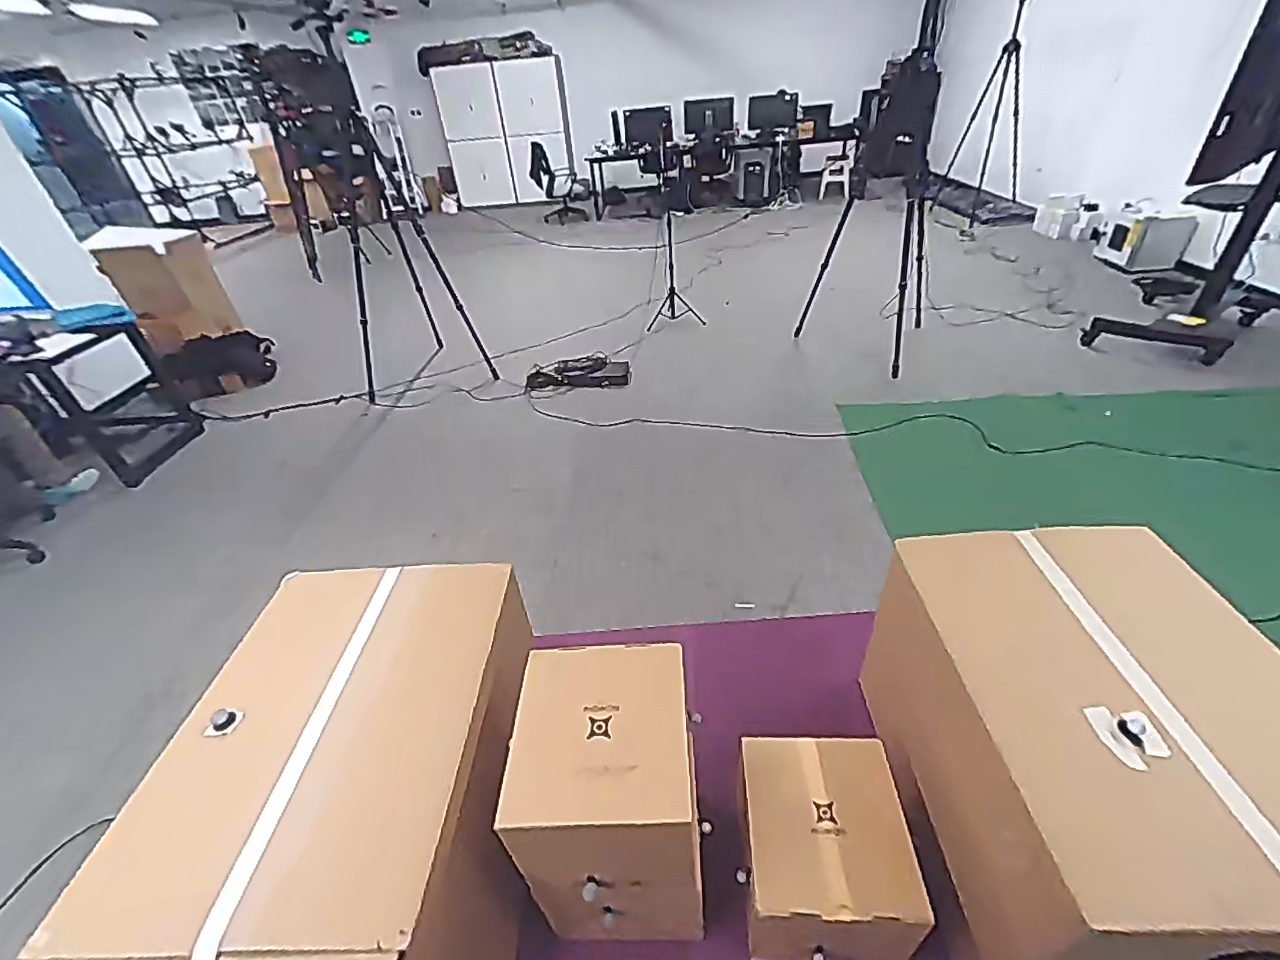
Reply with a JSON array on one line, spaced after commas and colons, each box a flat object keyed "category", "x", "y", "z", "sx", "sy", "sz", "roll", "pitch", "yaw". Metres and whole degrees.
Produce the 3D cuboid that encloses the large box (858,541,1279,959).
[{"category": "large box", "x": 0.491, "y": 0.319, "z": 0.629, "sx": 0.320, "sy": 0.320, "sz": 0.408, "roll": -2, "pitch": 37, "yaw": 4}]
